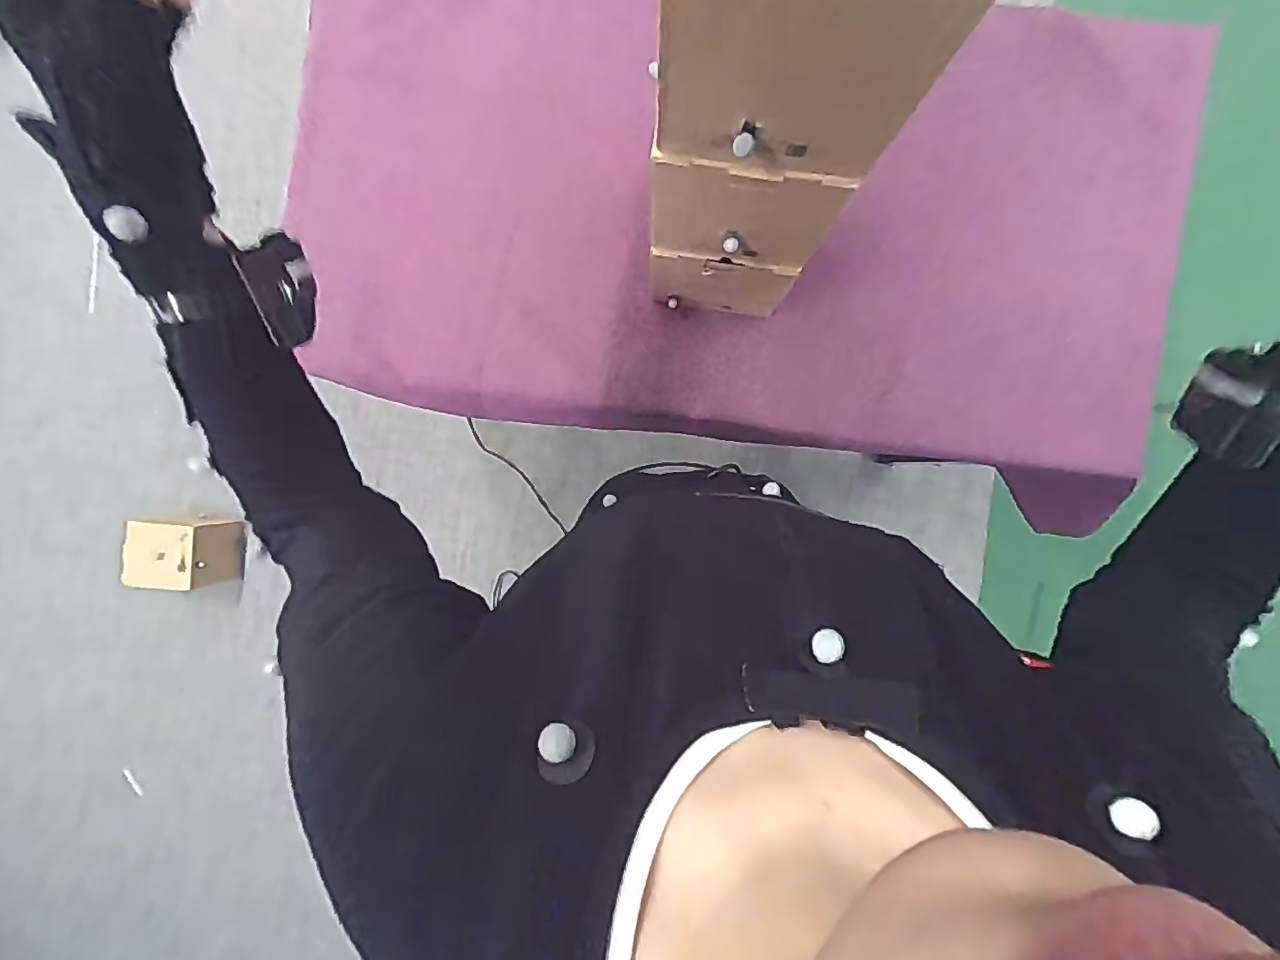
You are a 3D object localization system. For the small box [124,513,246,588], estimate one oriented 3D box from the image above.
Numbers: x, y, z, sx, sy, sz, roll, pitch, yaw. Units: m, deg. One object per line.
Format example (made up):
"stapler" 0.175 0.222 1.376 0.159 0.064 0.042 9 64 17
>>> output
"small box" -1.195 0.181 1.429 0.179 0.176 0.168 6 91 2

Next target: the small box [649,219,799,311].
"small box" 0.107 -0.324 0.666 0.168 0.176 0.179 9 91 1

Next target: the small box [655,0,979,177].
"small box" 0.101 -0.331 0.339 0.168 0.176 0.179 8 91 2

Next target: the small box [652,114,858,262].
"small box" 0.103 -0.329 0.502 0.168 0.176 0.179 9 91 1
